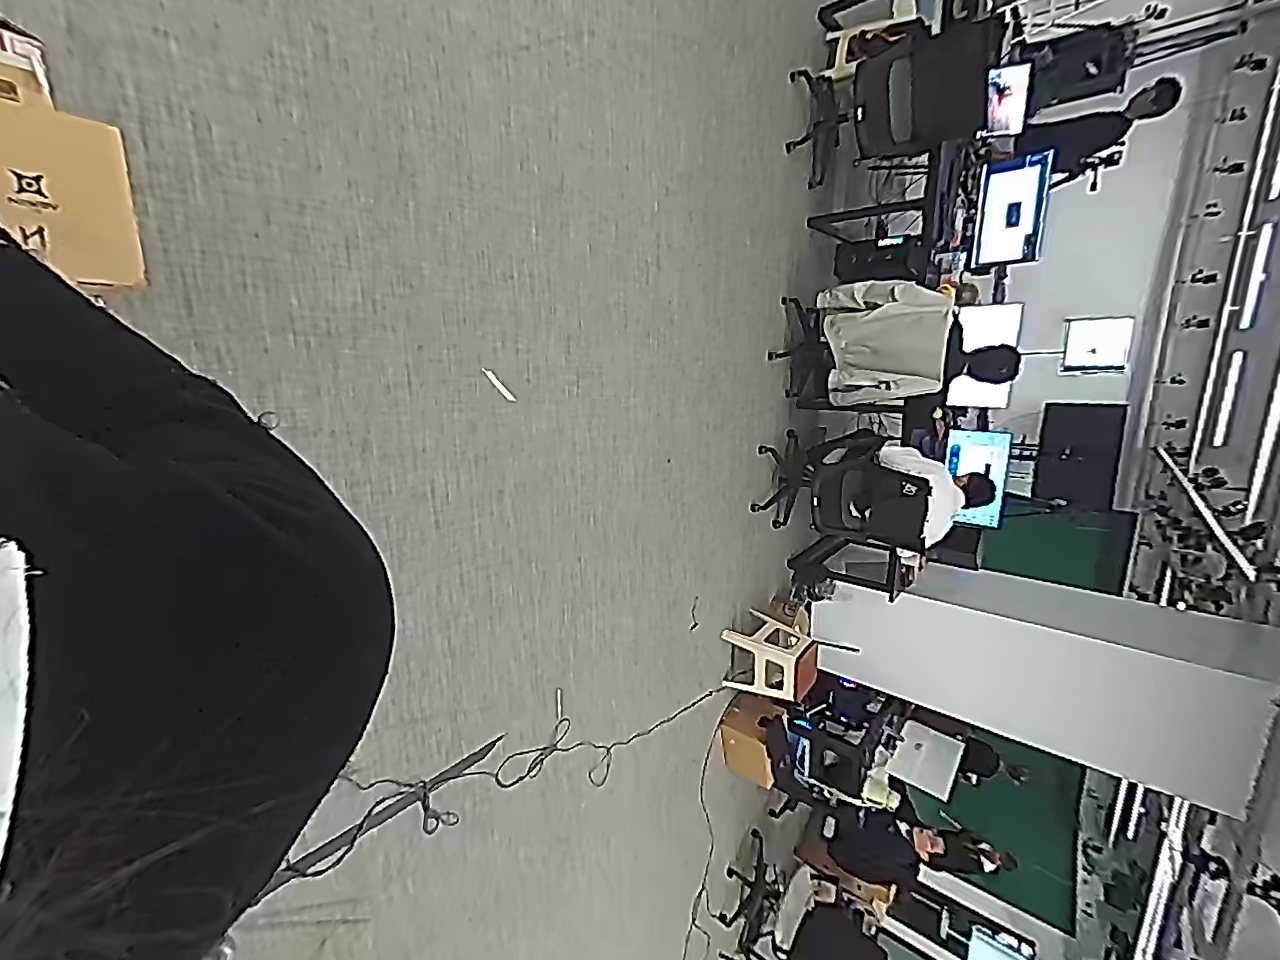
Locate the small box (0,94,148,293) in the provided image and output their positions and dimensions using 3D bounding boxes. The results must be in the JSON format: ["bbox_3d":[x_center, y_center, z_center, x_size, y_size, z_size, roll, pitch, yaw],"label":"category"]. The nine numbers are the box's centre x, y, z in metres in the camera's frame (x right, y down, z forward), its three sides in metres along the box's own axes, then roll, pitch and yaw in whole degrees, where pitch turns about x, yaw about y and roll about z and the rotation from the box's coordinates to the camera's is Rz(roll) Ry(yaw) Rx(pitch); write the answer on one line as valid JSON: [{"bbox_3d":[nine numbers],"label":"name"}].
[{"bbox_3d":[-0.700,-0.315,0.612,0.168,0.176,0.179,-16,112,-51],"label":"small box"}]
